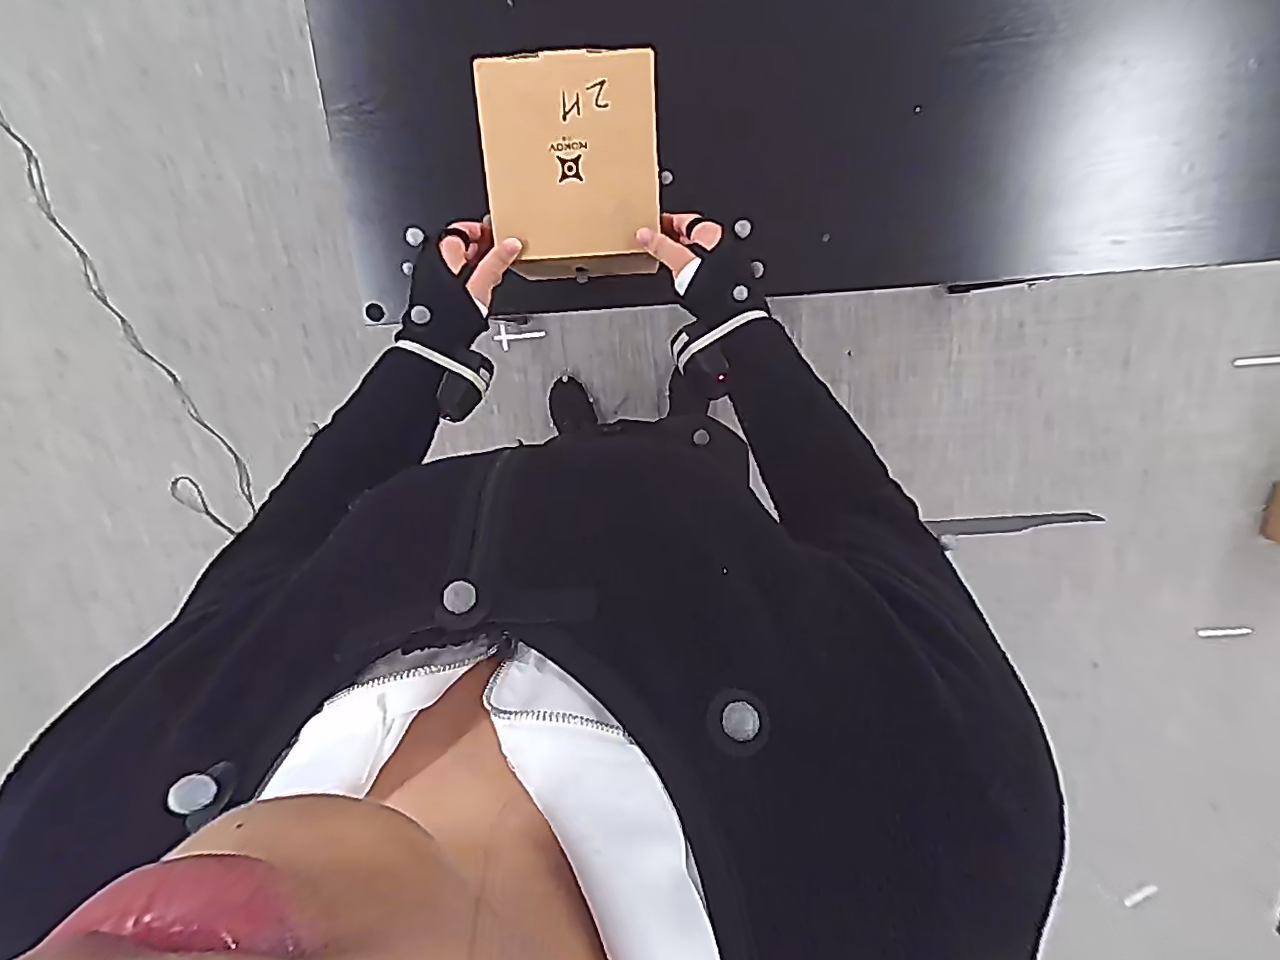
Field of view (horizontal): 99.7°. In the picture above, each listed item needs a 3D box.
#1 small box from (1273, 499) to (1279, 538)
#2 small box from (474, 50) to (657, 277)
[{"bbox_3d":[1.846,0.100,1.421,0.168,0.176,0.179,-5,103,1],"label":"small box"},{"bbox_3d":[-0.066,-0.322,0.591,0.168,0.176,0.179,-3,103,1],"label":"small box"}]
